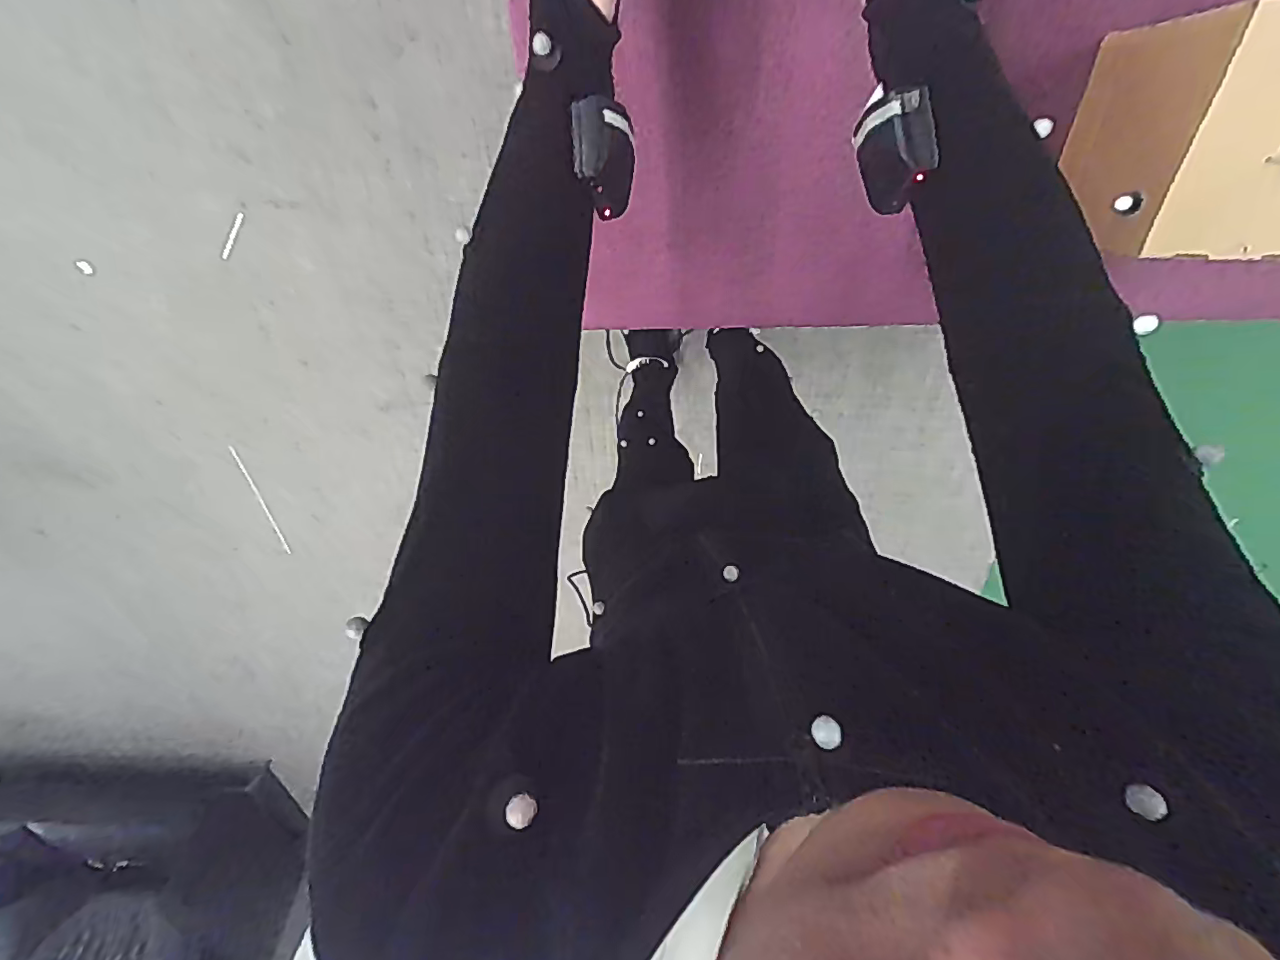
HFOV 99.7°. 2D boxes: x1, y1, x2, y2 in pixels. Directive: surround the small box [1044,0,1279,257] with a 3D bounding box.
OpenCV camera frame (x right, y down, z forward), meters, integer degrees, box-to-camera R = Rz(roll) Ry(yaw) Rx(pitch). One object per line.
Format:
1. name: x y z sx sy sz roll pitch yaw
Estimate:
1. small box: 0.519 -0.310 0.490 0.168 0.176 0.179 2 124 3
